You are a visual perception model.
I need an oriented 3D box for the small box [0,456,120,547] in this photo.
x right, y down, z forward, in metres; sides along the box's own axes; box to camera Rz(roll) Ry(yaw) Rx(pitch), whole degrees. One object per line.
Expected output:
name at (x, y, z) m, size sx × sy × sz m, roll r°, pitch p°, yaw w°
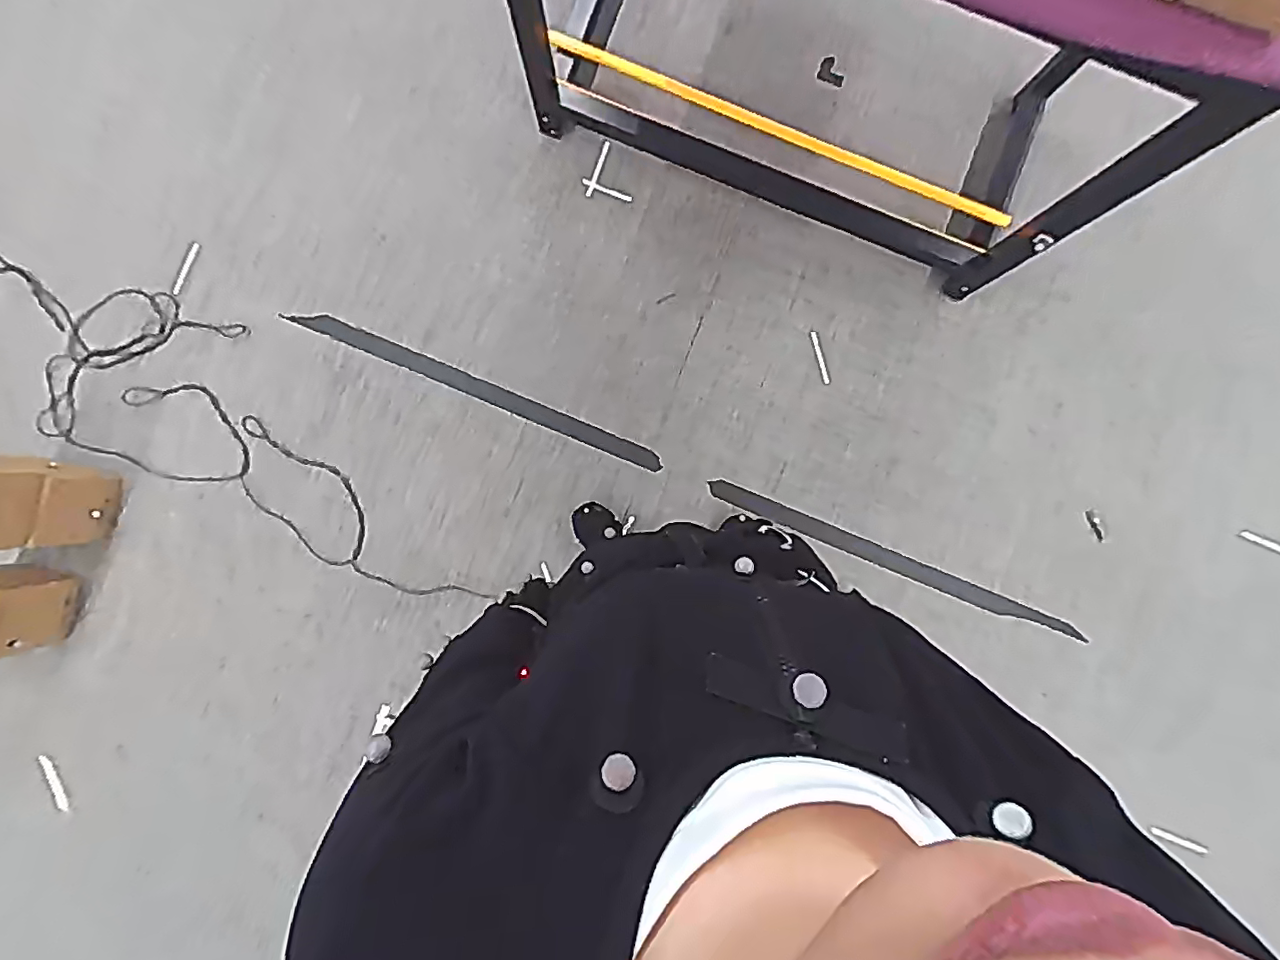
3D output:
small box at (-1.397, 0.047, 1.263) m, size 0.179 × 0.176 × 0.168 m, roll 17°, pitch 90°, yaw -2°

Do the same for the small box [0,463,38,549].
small box at (-1.404, 0.043, 1.098) m, size 0.168 × 0.176 × 0.179 m, roll 16°, pitch 90°, yaw 0°
